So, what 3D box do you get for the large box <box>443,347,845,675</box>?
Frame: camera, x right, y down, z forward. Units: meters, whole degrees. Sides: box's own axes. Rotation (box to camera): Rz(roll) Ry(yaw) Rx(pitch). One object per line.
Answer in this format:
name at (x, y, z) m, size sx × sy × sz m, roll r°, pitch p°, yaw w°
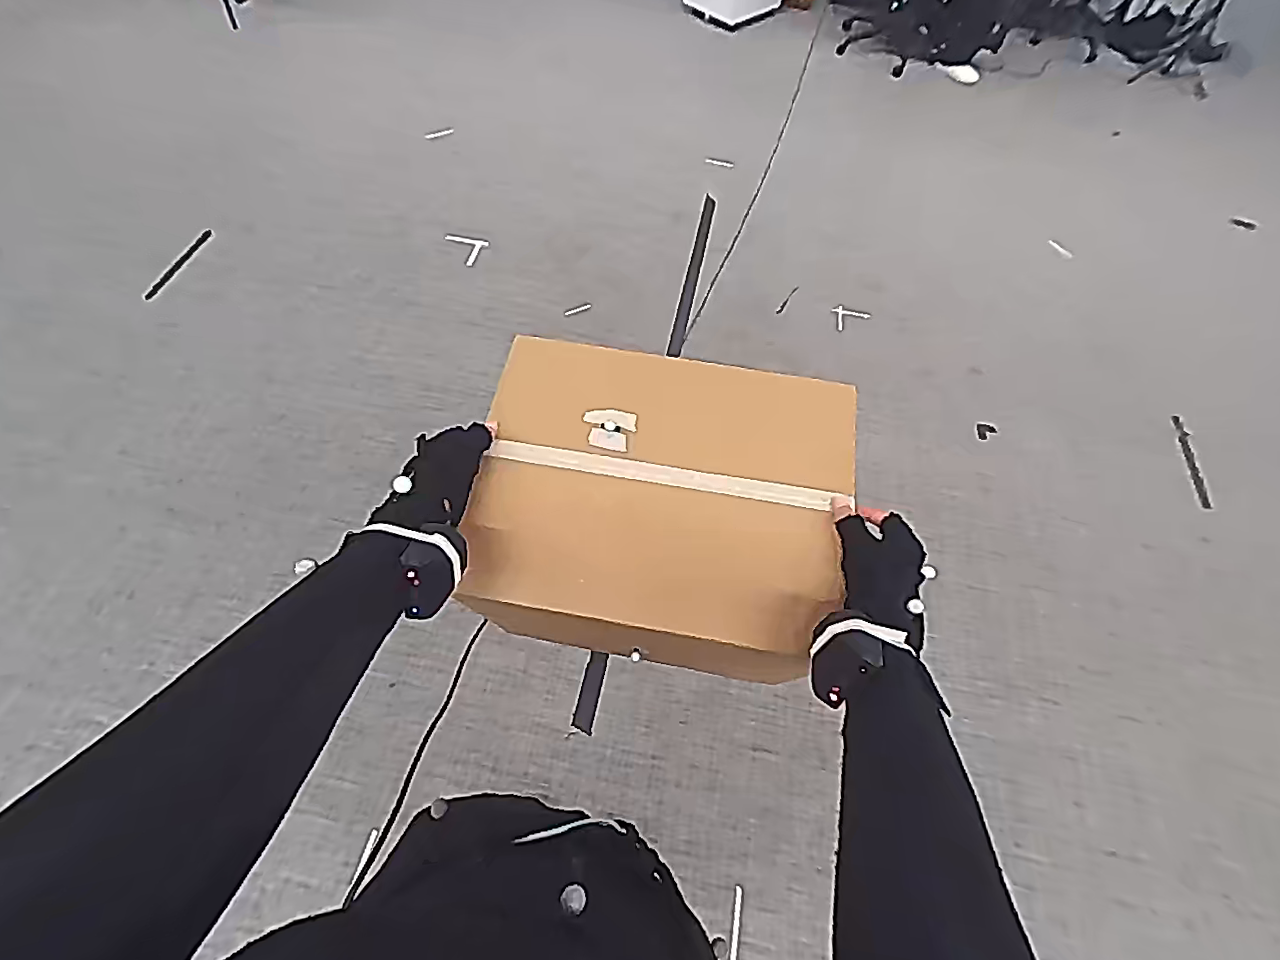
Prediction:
large box at (0.024, 0.062, 0.723) m, size 0.408 × 0.320 × 0.320 m, roll 9°, pitch 66°, yaw 5°
